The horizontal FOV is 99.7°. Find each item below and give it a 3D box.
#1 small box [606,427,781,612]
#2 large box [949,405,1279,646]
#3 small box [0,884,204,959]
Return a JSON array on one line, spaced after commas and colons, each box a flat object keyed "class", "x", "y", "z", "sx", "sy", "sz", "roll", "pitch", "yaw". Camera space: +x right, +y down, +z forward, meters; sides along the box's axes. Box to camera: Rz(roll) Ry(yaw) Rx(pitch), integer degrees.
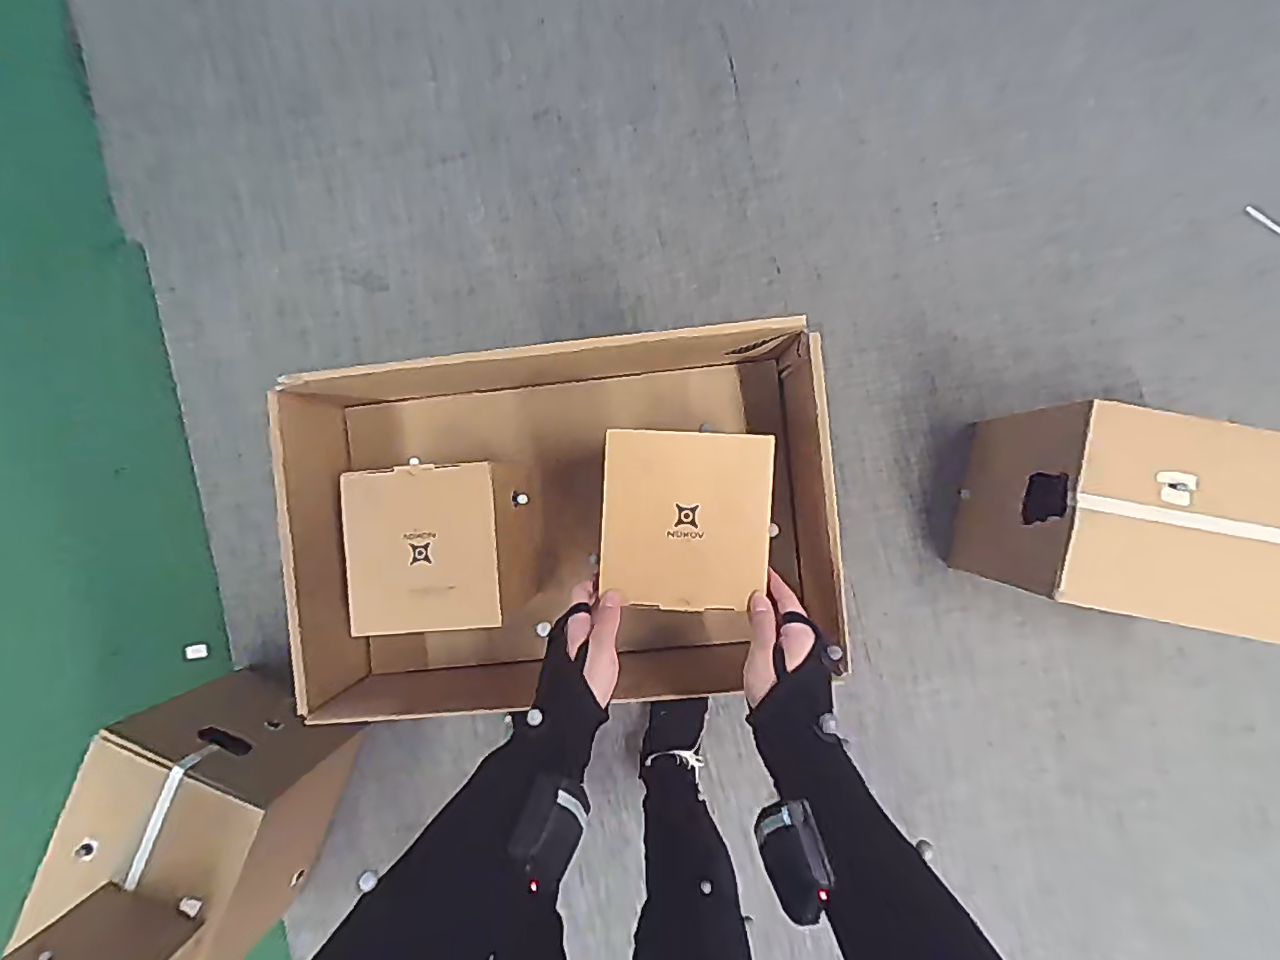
[{"class": "small box", "x": 0.051, "y": 0.037, "z": 0.605, "sx": 0.168, "sy": 0.176, "sz": 0.179, "roll": 3, "pitch": 93, "yaw": 1}, {"class": "large box", "x": 0.846, "y": 0.068, "z": 0.950, "sx": 0.408, "sy": 0.320, "sz": 0.320, "roll": 11, "pitch": 90, "yaw": 3}, {"class": "small box", "x": -0.792, "y": 0.732, "z": 0.773, "sx": 0.179, "sy": 0.176, "sz": 0.168, "roll": 22, "pitch": 91, "yaw": 1}]
